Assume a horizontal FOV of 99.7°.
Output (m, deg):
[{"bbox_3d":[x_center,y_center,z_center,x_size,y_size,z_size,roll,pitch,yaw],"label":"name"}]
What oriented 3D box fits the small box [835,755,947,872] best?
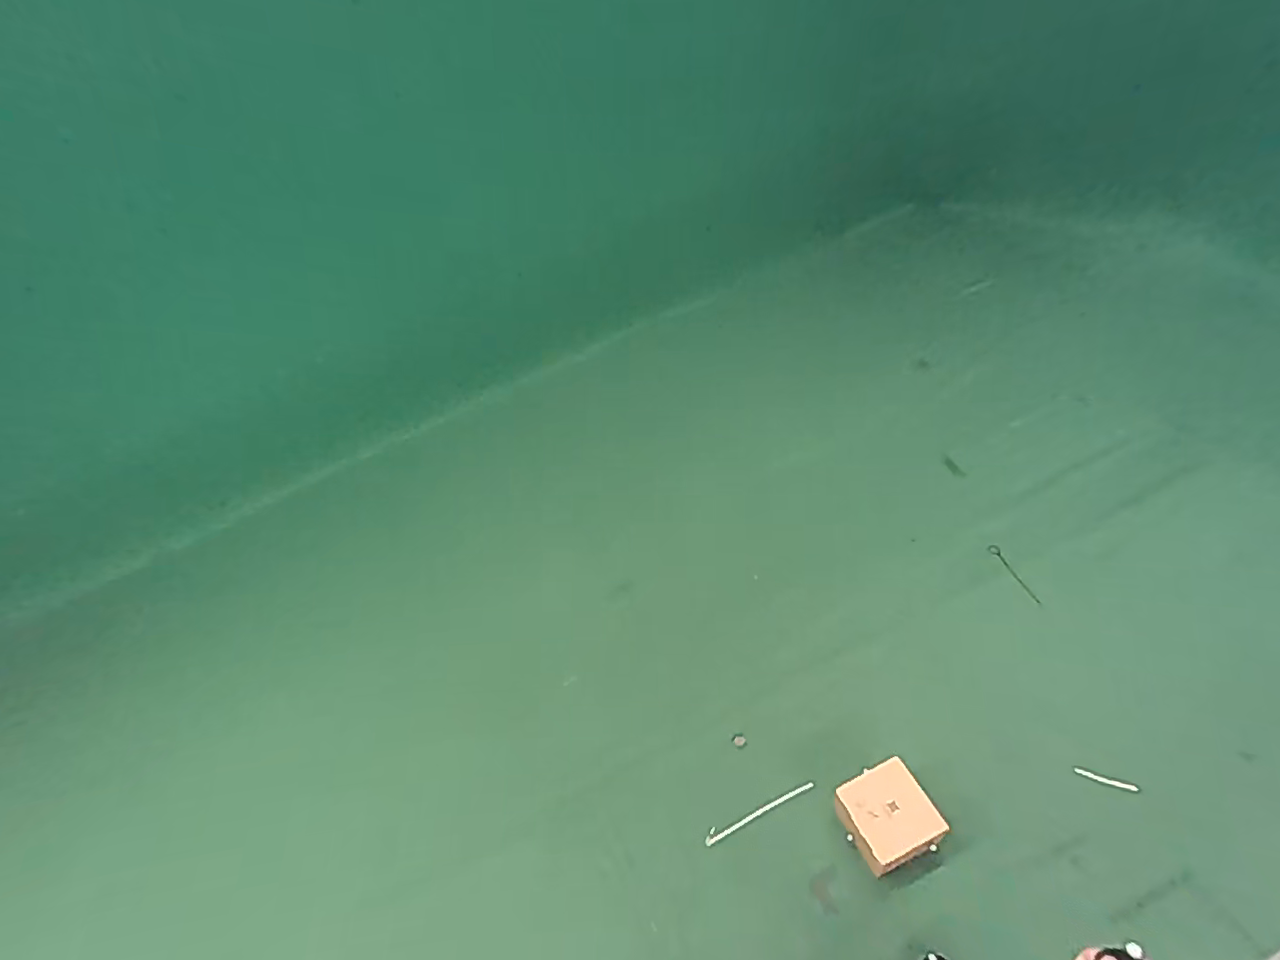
[{"bbox_3d":[0.579,0.787,1.276,0.179,0.176,0.168,-24,45,-6],"label":"small box"}]
